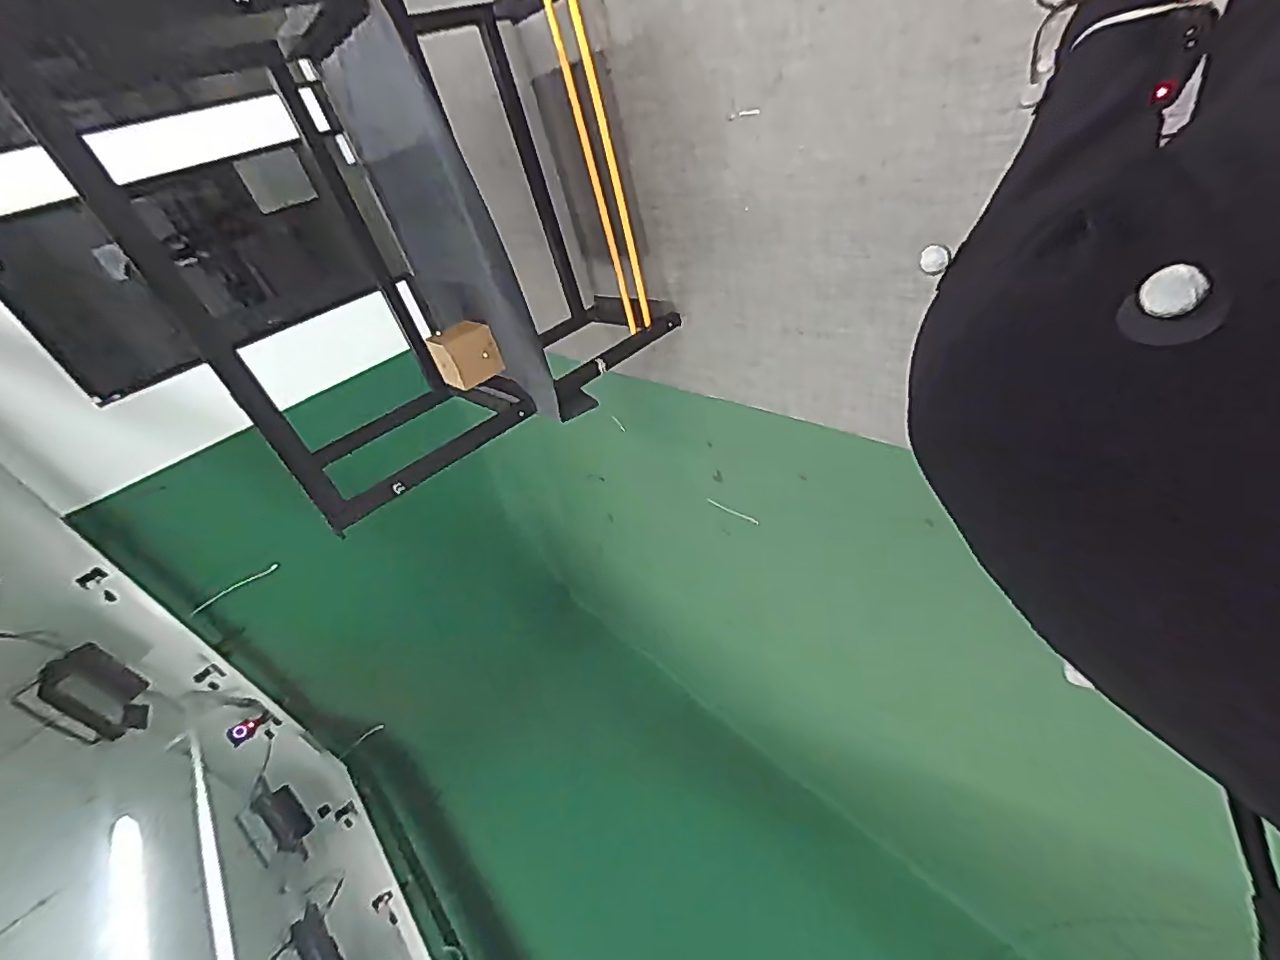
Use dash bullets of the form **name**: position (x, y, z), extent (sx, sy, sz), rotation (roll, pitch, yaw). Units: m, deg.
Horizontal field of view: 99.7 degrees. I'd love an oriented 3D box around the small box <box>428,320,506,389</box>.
- **small box**: position (-0.591, -0.437, 1.863), extent (0.179, 0.176, 0.168), rotation (24, 142, 44)
